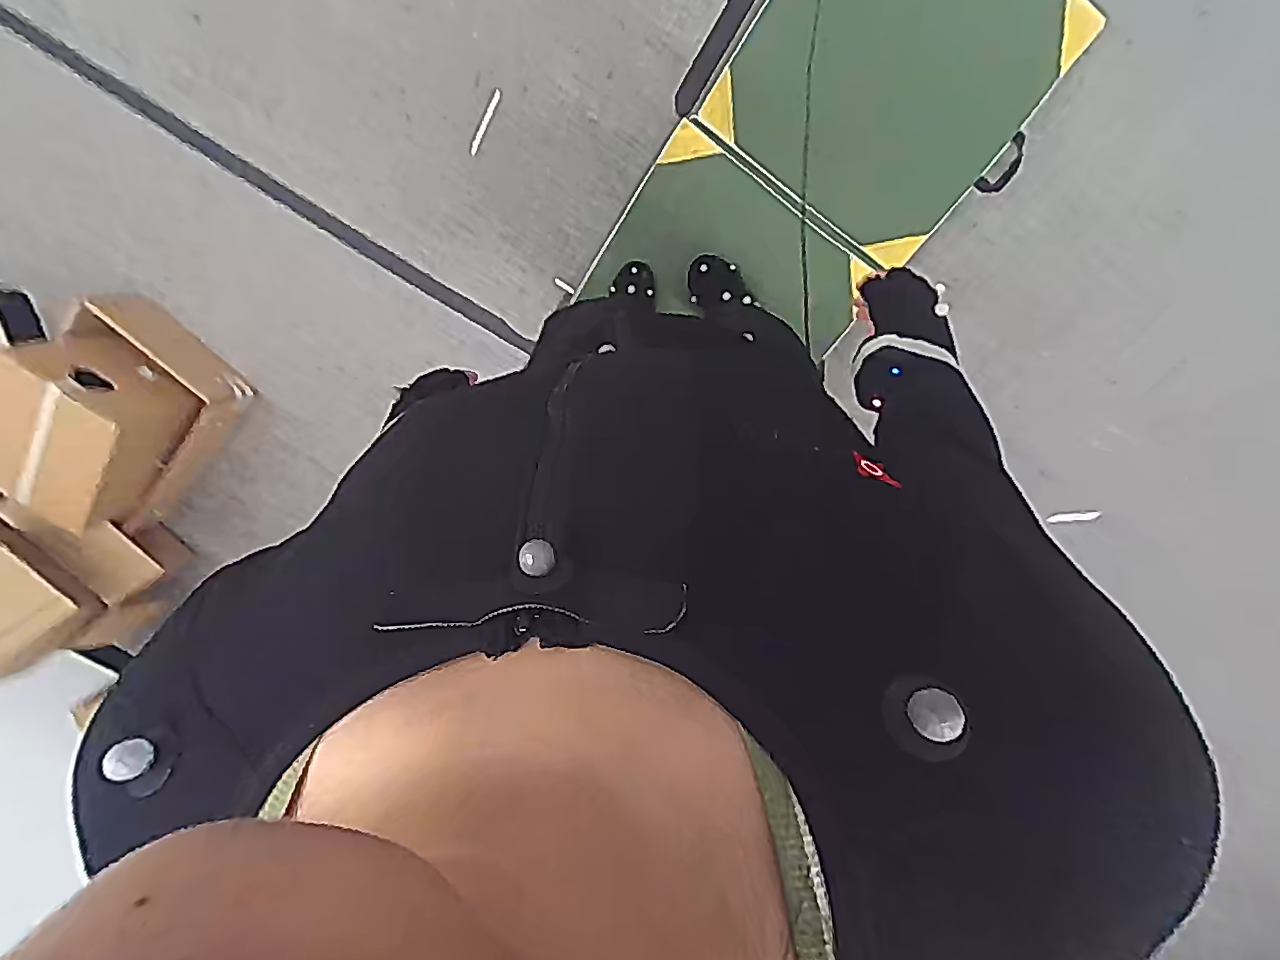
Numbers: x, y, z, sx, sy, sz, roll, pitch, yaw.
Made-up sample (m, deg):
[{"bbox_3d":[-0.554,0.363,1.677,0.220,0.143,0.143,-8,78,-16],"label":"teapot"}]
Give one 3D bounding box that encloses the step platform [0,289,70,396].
[{"bbox_3d":[-2.101,-0.419,1.570,0.684,0.204,0.286,5,113,3],"label":"step platform"}]
